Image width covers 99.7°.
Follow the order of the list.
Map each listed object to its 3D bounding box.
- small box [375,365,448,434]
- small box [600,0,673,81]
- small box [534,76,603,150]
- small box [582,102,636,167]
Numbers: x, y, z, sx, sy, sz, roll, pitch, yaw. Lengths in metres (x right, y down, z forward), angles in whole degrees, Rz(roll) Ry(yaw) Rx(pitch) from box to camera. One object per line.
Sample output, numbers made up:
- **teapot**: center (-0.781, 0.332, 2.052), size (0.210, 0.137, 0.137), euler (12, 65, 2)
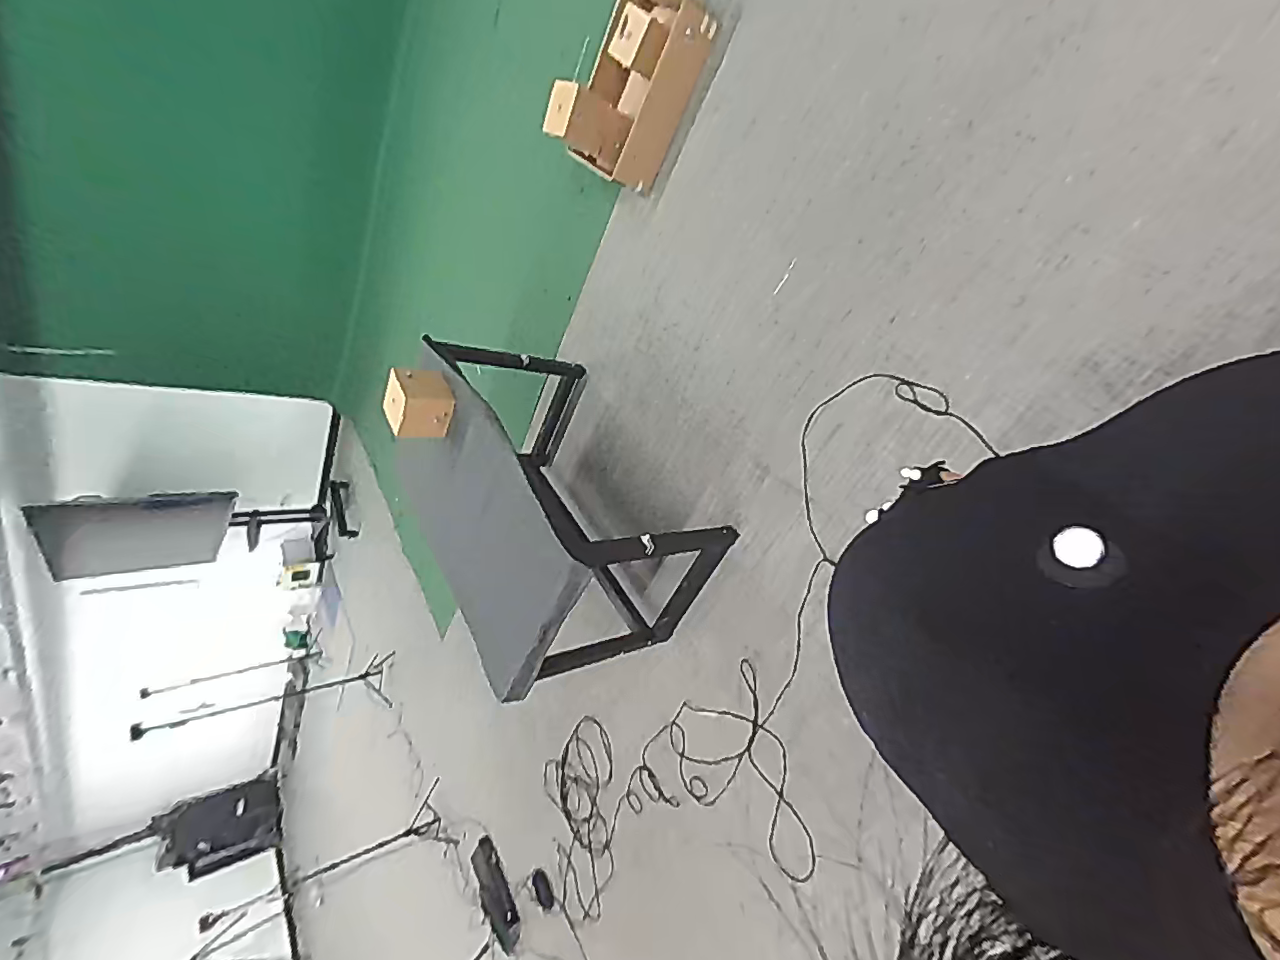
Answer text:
- **small box**: center (-0.780, -0.269, 1.846), size (0.179, 0.176, 0.168), euler (52, 128, 30)
- **small box**: center (-0.012, -1.618, 1.993), size (0.179, 0.176, 0.168), euler (55, 128, 28)
- **small box**: center (-0.264, -1.370, 2.025), size (0.168, 0.176, 0.179), euler (39, 116, 36)
- **small box**: center (-0.144, -1.378, 2.138), size (0.168, 0.176, 0.179), euler (50, 125, 31)
